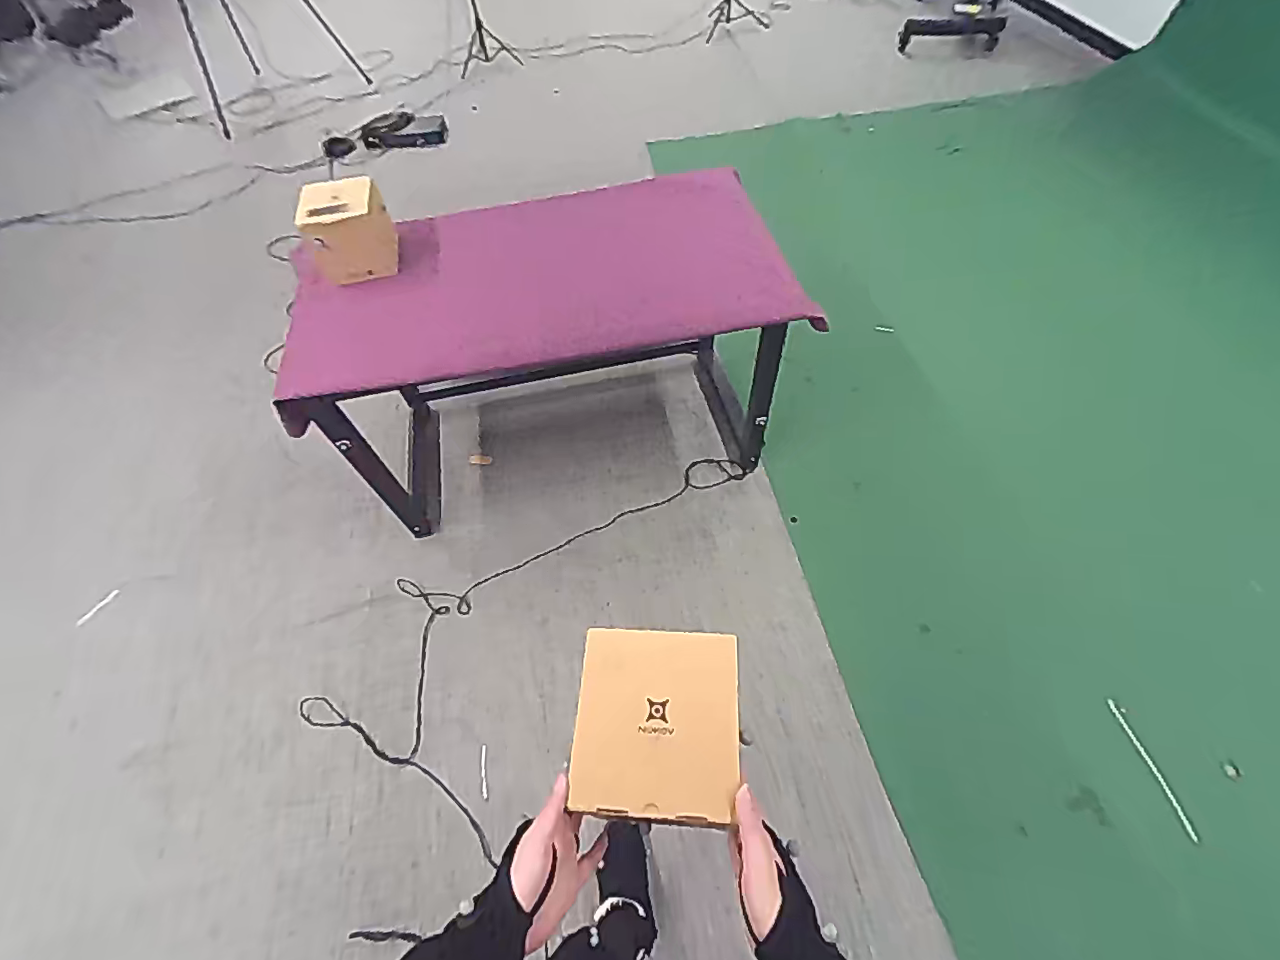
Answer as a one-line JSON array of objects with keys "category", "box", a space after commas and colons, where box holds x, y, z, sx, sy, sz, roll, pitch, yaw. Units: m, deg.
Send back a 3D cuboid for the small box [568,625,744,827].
[{"category": "small box", "box": [0.025, 0.277, 0.605, 0.168, 0.176, 0.179, 1, 57, 6]}]
